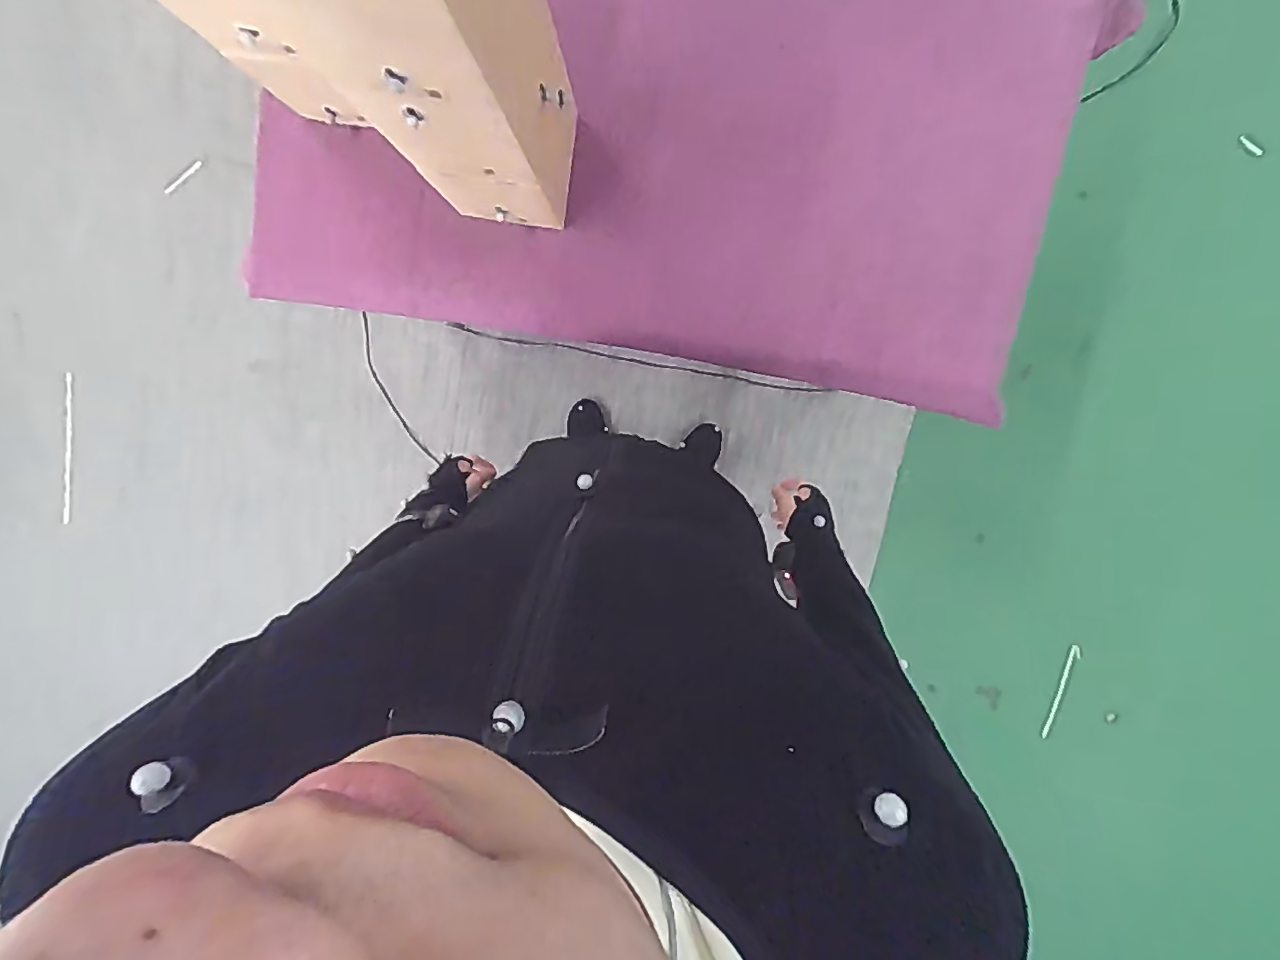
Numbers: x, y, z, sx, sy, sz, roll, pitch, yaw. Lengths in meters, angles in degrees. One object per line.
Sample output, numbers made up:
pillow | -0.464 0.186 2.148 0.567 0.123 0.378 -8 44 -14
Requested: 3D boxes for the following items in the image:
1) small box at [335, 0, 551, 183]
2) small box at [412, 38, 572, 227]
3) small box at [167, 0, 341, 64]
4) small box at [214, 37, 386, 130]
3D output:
small box | -0.199 -0.459 0.590 0.168 0.176 0.179 8 97 1
small box | -0.194 -0.480 0.753 0.168 0.176 0.179 9 99 1
small box | -0.440 -0.599 0.579 0.168 0.176 0.179 7 99 2
small box | -0.436 -0.622 0.741 0.168 0.176 0.179 8 99 1
